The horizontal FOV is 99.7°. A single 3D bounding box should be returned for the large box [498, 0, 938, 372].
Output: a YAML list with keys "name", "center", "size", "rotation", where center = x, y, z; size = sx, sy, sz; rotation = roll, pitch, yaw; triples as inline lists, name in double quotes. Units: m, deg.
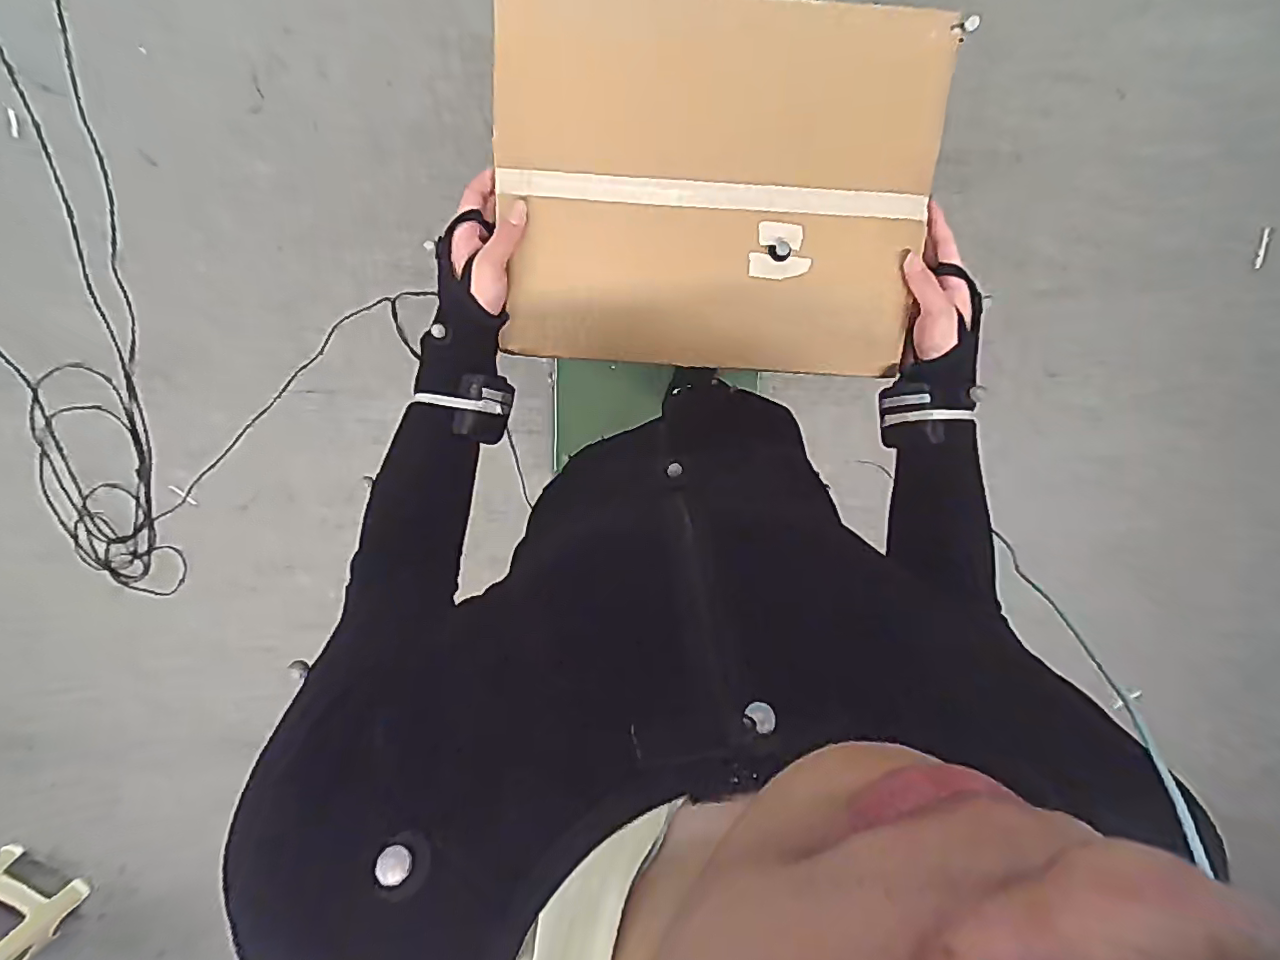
- name: "large box"
  center: [0.061, -0.305, 0.662]
  size: [0.408, 0.320, 0.320]
  rotation: [3, 106, -2]
